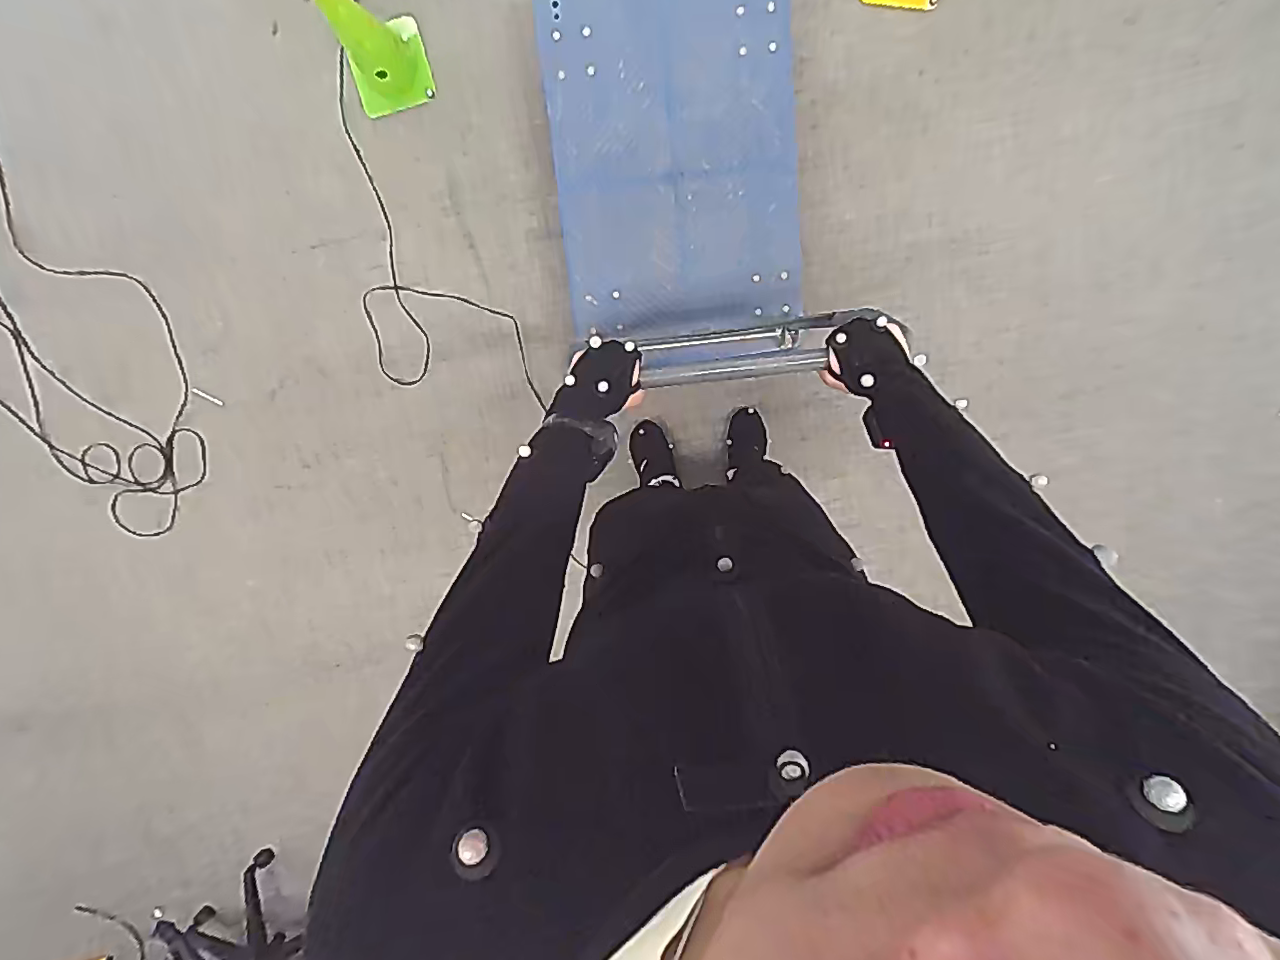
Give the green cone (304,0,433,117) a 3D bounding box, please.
[{"bbox_3d":[-0.660,-1.035,1.232,0.202,0.368,0.200,-14,101,6],"label":"green cone"}]
